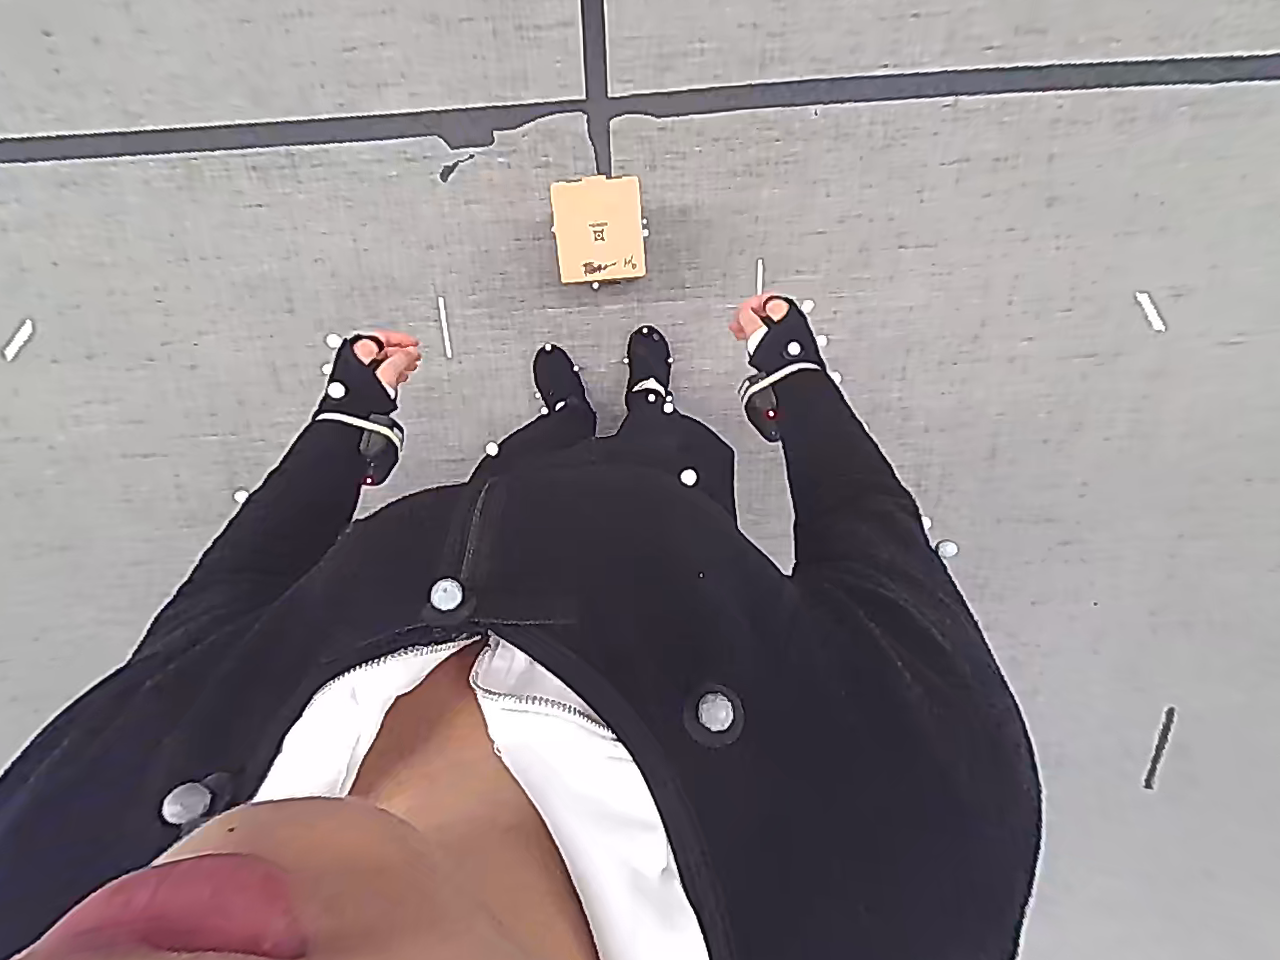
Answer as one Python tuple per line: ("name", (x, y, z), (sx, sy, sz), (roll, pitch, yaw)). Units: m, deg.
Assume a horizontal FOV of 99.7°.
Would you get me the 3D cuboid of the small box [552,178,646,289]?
("small box", (-0.078, -0.487, 1.091), (0.168, 0.176, 0.179), (-5, 107, 1))
